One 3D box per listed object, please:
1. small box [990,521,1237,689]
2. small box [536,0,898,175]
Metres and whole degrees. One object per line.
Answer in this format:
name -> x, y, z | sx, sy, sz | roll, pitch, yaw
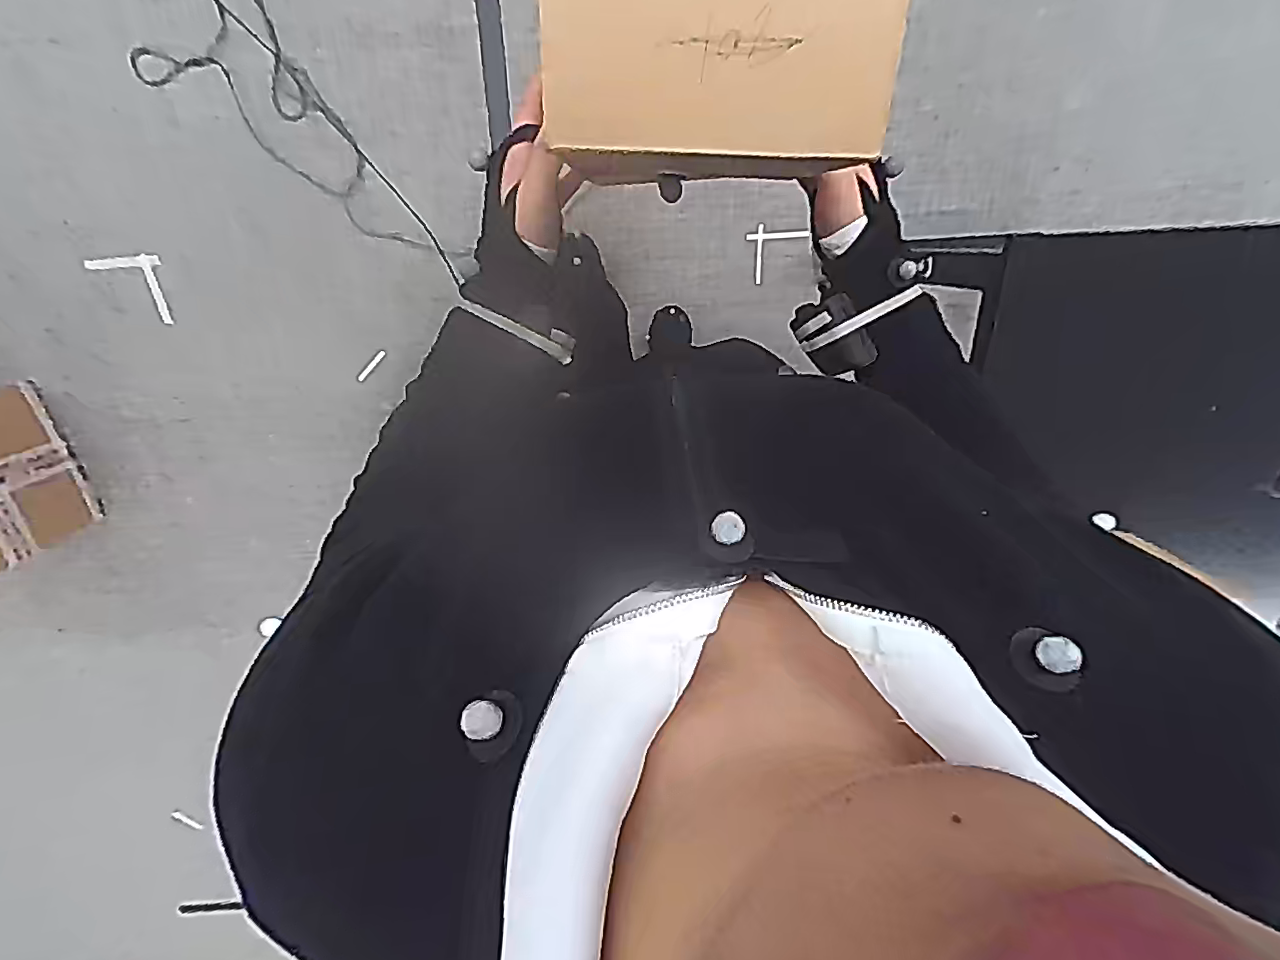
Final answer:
small box -> 0.656, 0.172, 0.780 | 0.179, 0.176, 0.168 | 7, 113, -7
small box -> 0.035, -0.279, 0.300 | 0.168, 0.176, 0.179 | 2, 116, -1
